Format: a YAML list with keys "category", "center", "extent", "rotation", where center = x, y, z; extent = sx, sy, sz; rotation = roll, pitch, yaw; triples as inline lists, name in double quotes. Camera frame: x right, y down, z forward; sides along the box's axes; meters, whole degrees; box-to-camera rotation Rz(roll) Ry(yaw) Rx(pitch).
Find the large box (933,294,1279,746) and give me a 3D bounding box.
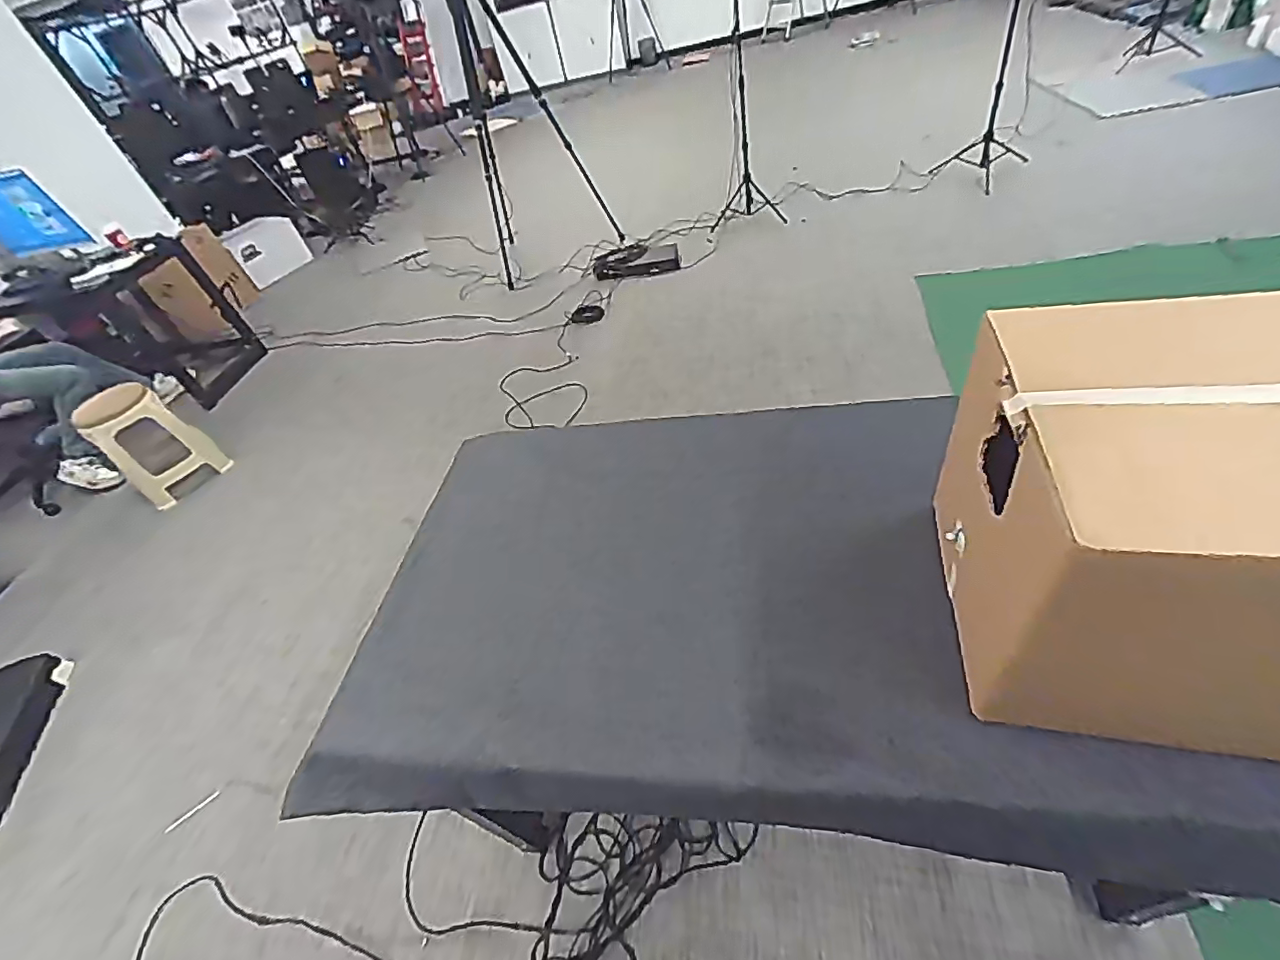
- category: "large box"
  center: [0.550, 0.039, 0.518]
  extent: [0.408, 0.320, 0.320]
  rotation: [2, 48, 17]
